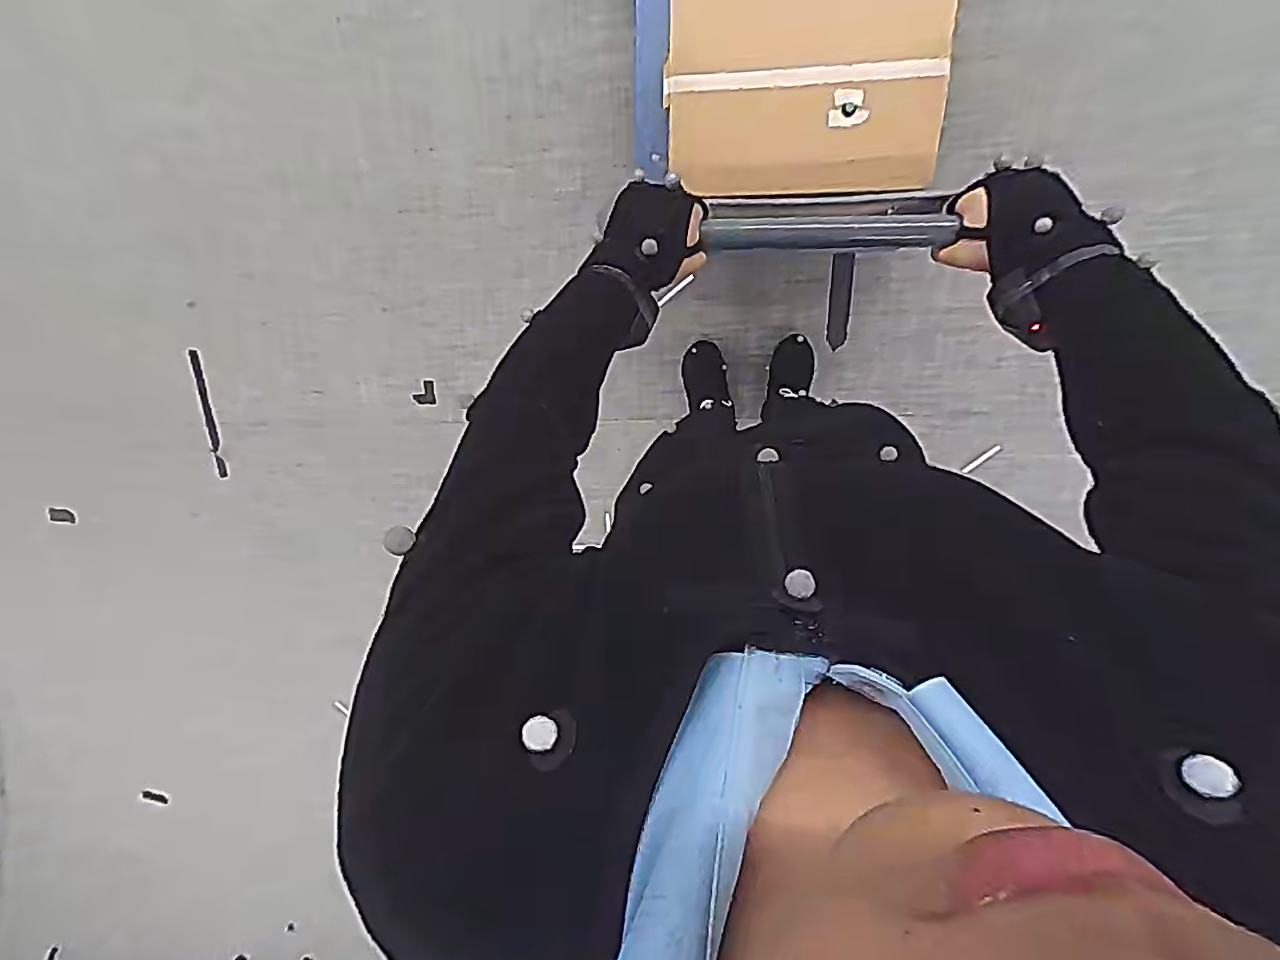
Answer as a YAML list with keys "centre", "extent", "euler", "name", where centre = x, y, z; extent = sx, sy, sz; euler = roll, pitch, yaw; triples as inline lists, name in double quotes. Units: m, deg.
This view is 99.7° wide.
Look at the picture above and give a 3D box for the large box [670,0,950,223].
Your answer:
- centre: [0.263, -0.651, 0.958]
  extent: [0.408, 0.320, 0.320]
  euler: [1, 110, 7]
  name: "large box"
